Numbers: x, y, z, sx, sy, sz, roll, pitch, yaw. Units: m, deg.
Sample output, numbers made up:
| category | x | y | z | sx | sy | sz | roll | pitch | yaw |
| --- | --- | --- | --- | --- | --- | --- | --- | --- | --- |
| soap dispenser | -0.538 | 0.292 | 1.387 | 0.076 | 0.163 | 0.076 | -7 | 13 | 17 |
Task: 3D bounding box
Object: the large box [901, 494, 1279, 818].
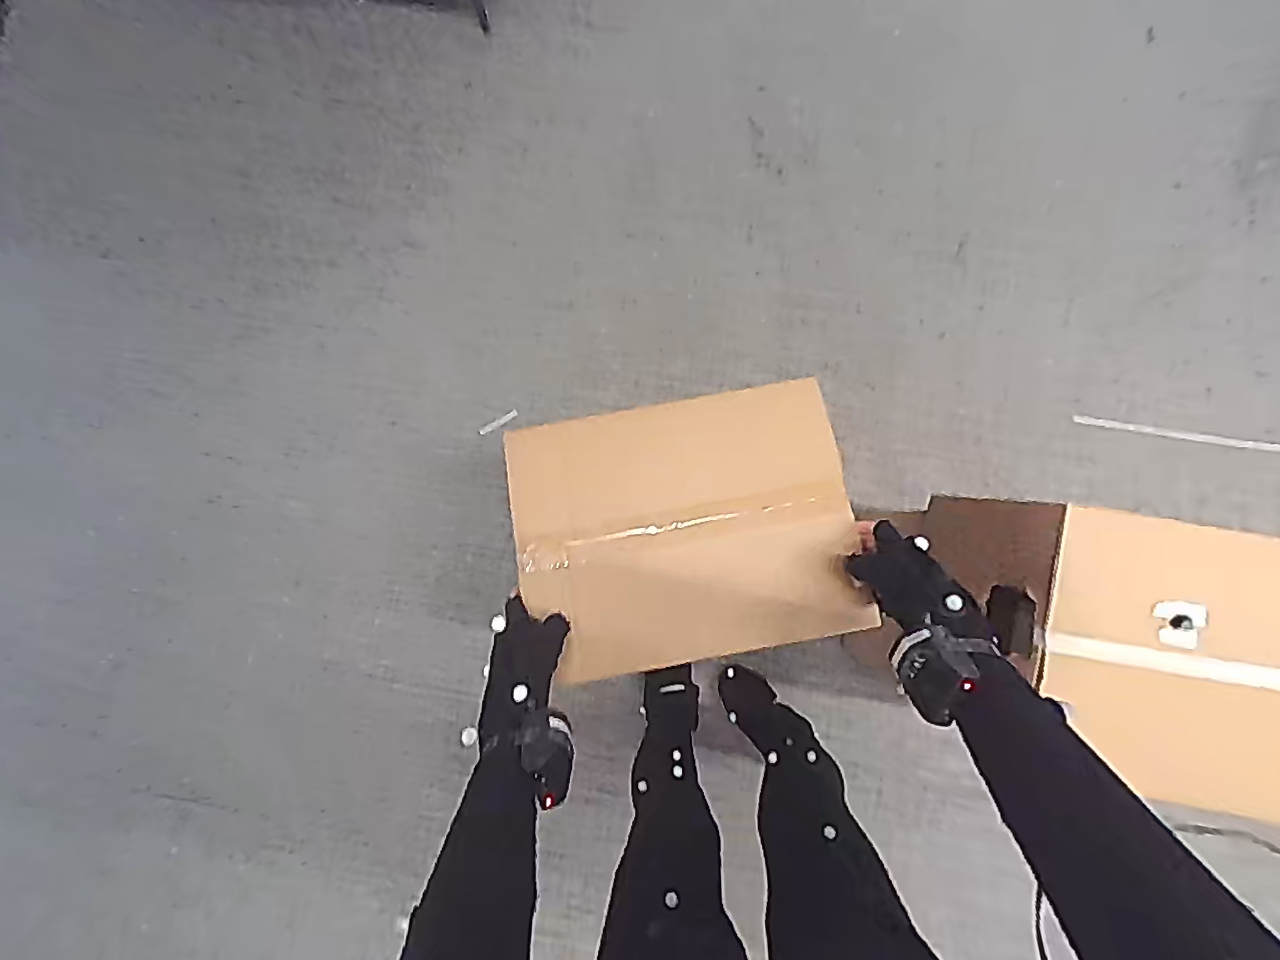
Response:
| category | x | y | z | sx | sy | sz | roll | pitch | yaw |
| --- | --- | --- | --- | --- | --- | --- | --- | --- | --- |
| large box | 0.643 | 0.203 | 0.742 | 0.408 | 0.320 | 0.320 | 9 | 90 | 4 |
